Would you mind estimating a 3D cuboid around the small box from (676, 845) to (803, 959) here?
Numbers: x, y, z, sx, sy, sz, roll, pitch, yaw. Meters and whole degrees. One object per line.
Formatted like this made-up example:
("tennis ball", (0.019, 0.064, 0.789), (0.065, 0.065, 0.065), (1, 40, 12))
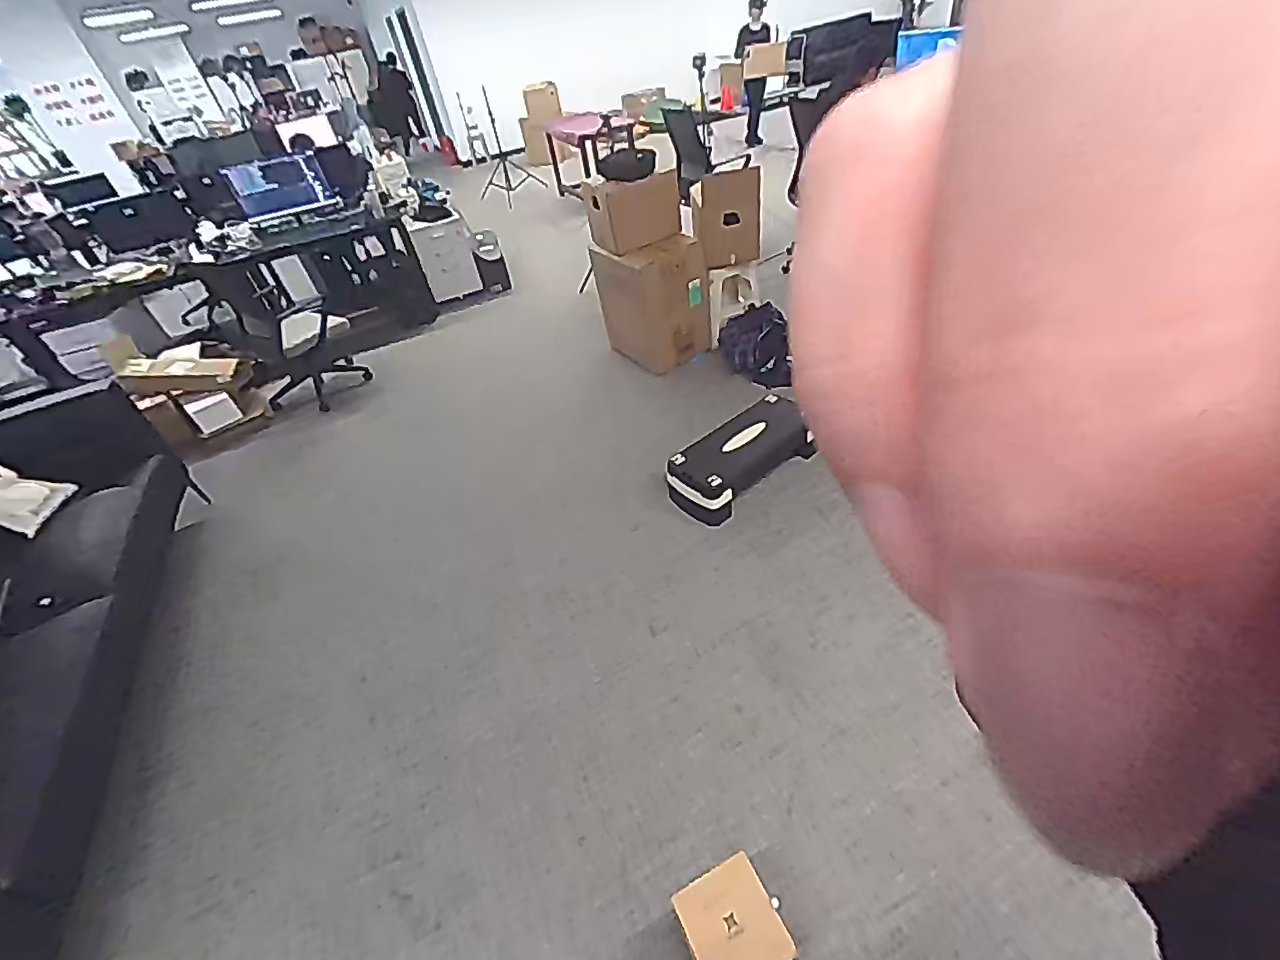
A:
("small box", (0.188, 0.845, 1.023), (0.168, 0.176, 0.179), (-24, 42, -15))
